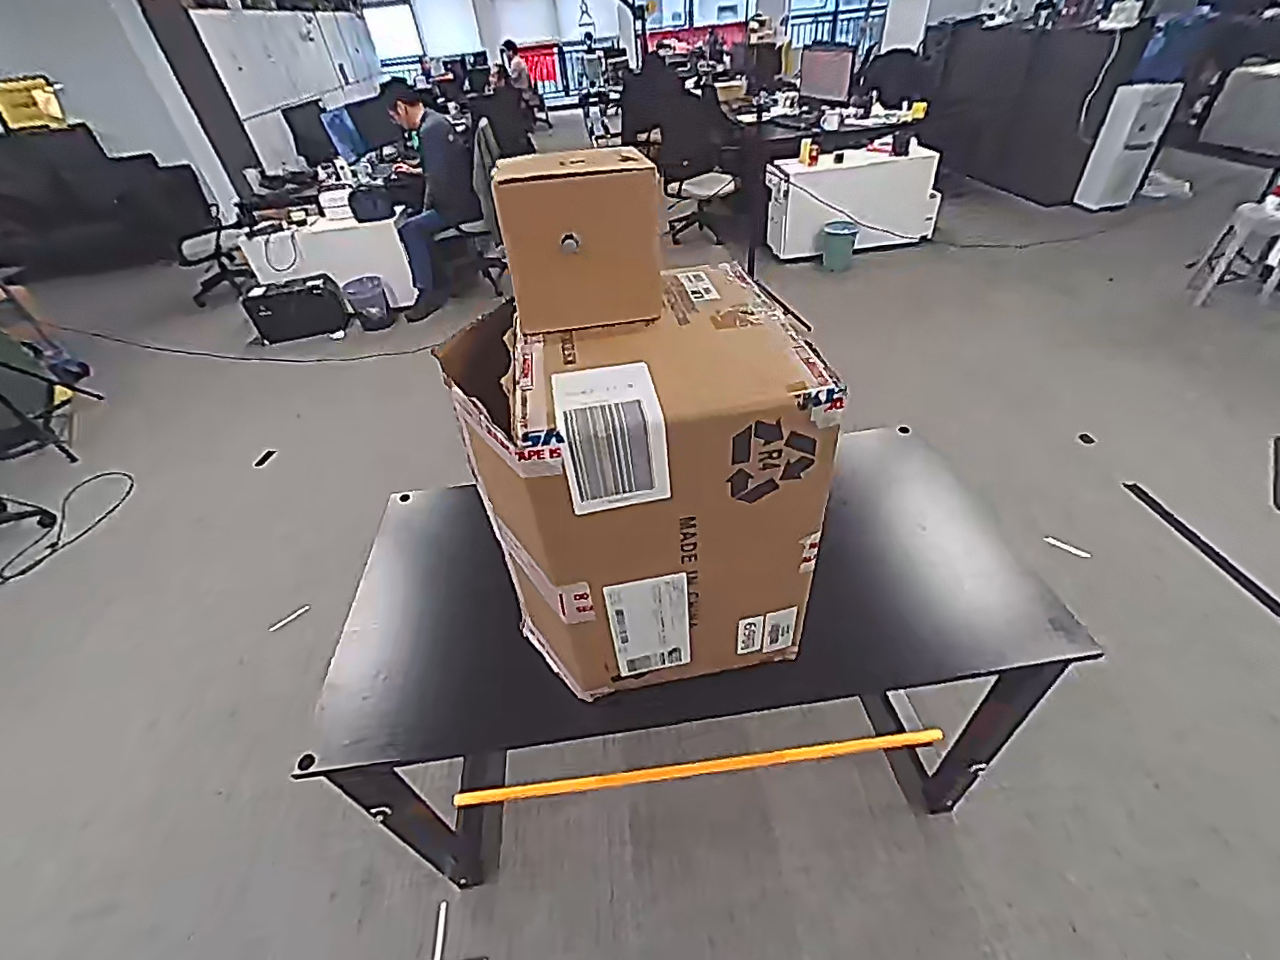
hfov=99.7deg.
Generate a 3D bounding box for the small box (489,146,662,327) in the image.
[{"bbox_3d":[-0.076,-0.302,0.673,0.179,0.176,0.168,-9,39,-5],"label":"small box"}]
